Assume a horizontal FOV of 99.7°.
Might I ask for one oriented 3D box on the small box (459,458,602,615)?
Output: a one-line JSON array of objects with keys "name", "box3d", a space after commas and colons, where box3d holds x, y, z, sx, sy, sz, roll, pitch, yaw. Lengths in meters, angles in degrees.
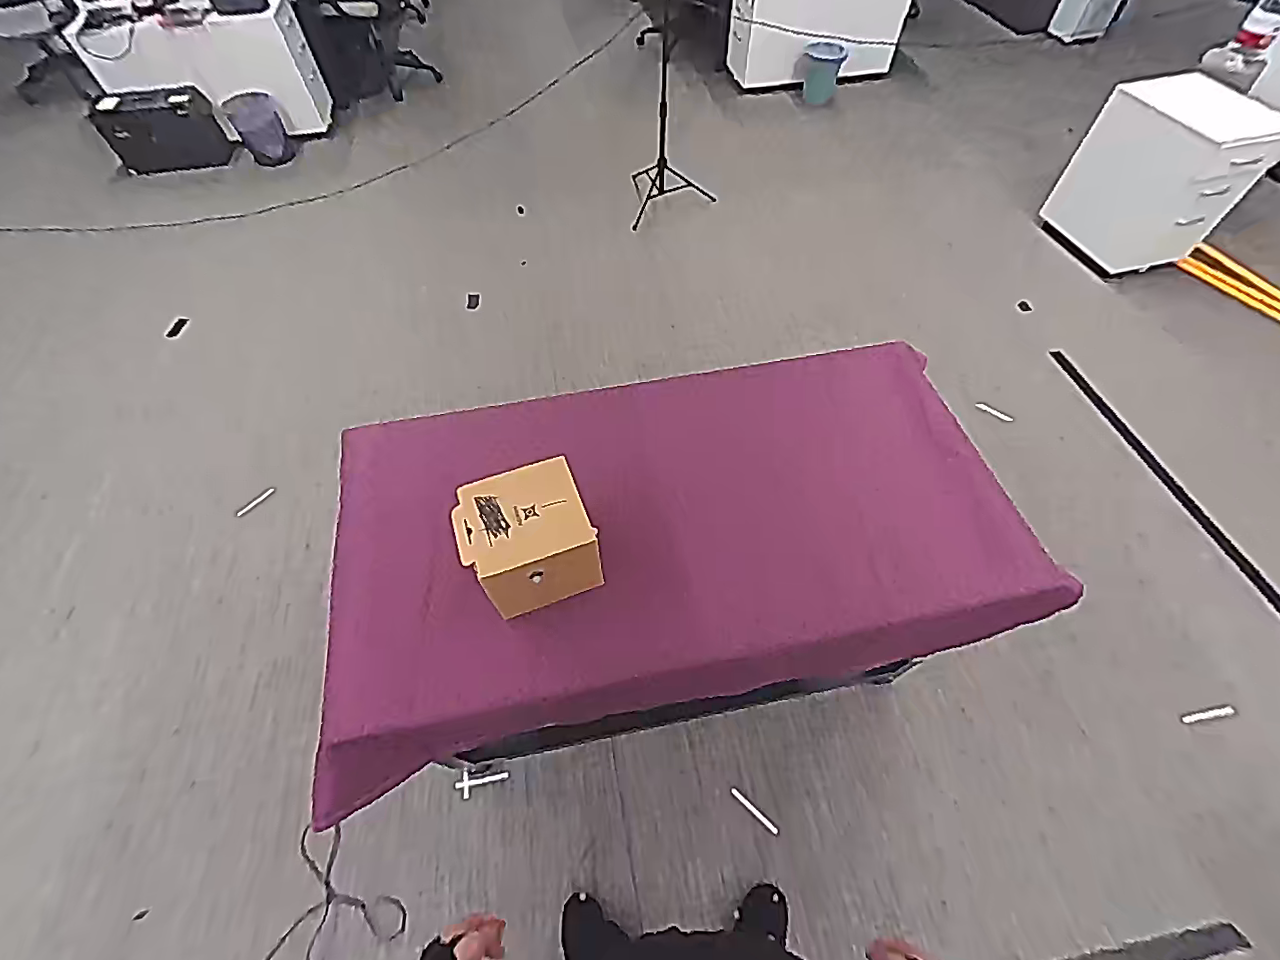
[{"name": "small box", "box3d": [-0.171, 0.096, 0.876, 0.179, 0.176, 0.168, -18, 58, -12]}]
